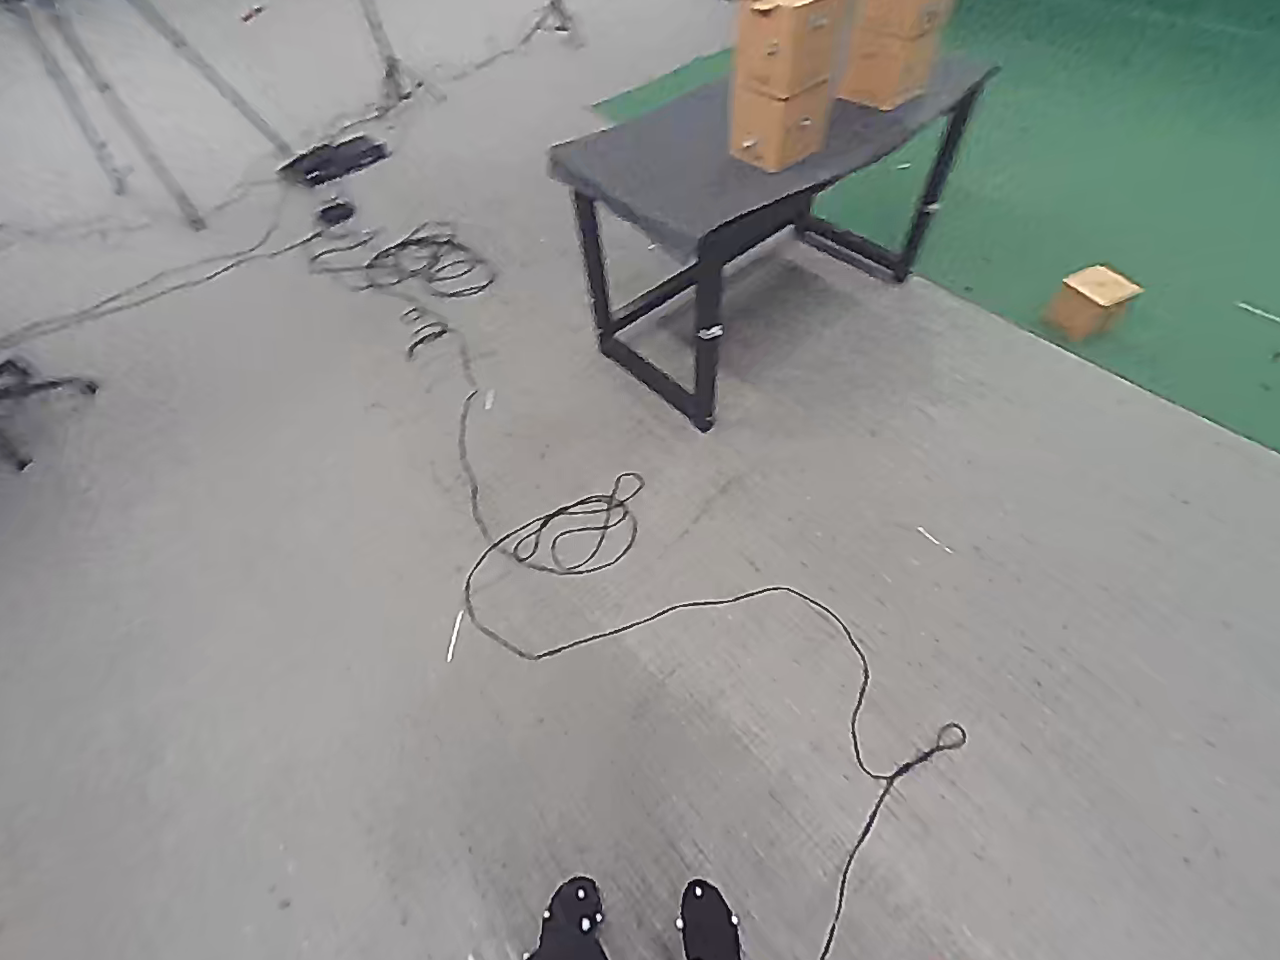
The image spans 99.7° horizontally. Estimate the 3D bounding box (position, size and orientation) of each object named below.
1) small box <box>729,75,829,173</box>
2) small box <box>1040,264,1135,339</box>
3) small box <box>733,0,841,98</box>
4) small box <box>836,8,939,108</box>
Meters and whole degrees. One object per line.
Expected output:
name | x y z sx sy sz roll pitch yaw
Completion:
small box | 0.338 -0.910 1.355 0.179 0.176 0.168 -37 60 -18
small box | 1.595 -0.638 1.947 0.179 0.176 0.168 -22 58 -10
small box | 0.325 -0.998 1.219 0.179 0.176 0.168 -35 61 -18
small box | 0.676 -1.164 1.498 0.168 0.176 0.179 -37 60 -18
